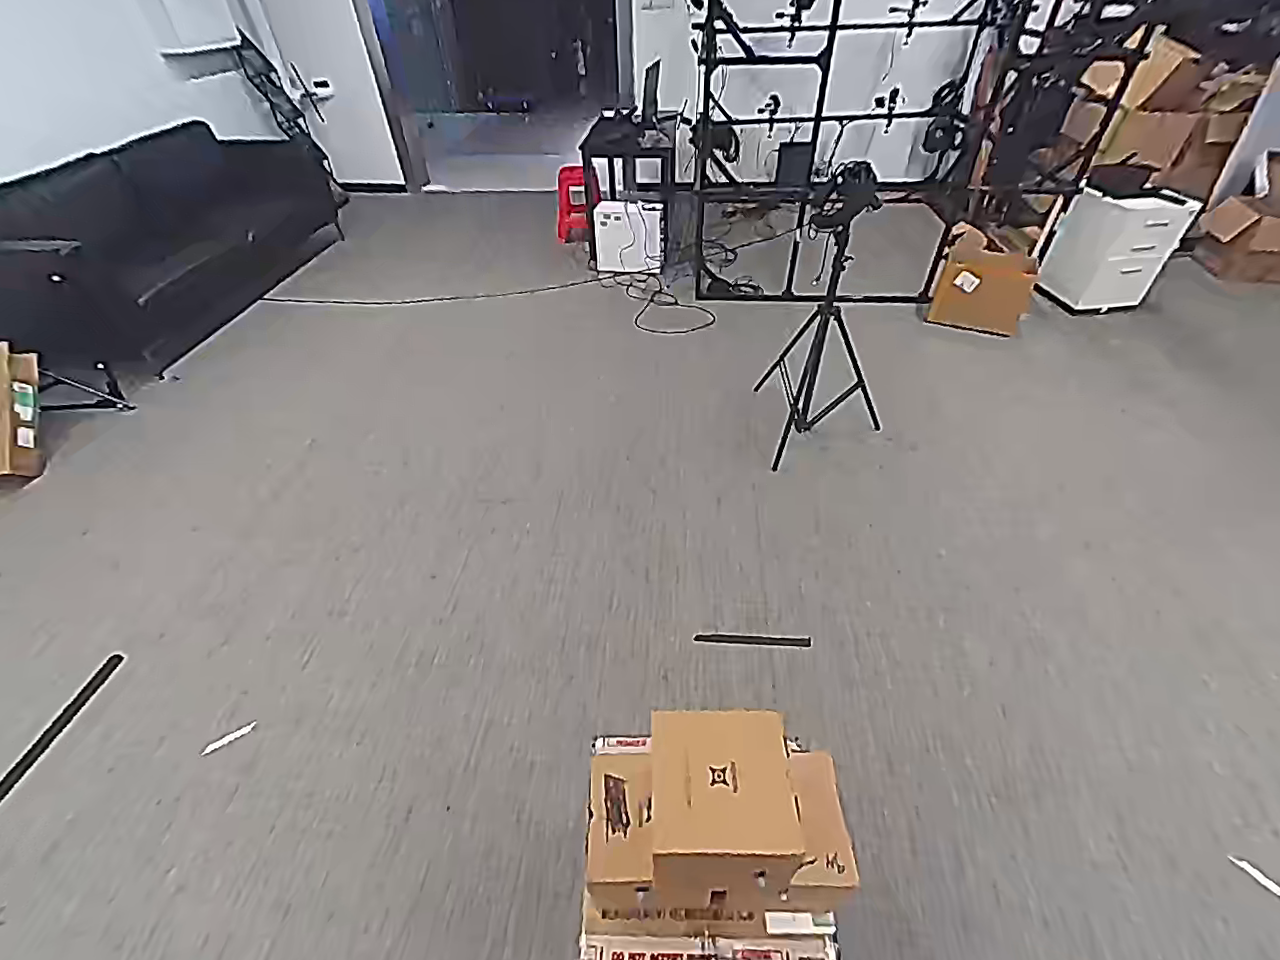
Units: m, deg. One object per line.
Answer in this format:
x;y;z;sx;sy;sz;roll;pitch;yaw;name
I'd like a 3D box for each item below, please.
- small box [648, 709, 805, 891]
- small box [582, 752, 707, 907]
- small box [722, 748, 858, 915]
0.100;0.422;0.714;0.179;0.176;0.168;-2;41;1;small box
0.012;0.538;0.833;0.179;0.176;0.168;-3;42;0;small box
0.209;0.536;0.830;0.168;0.176;0.179;1;41;1;small box
